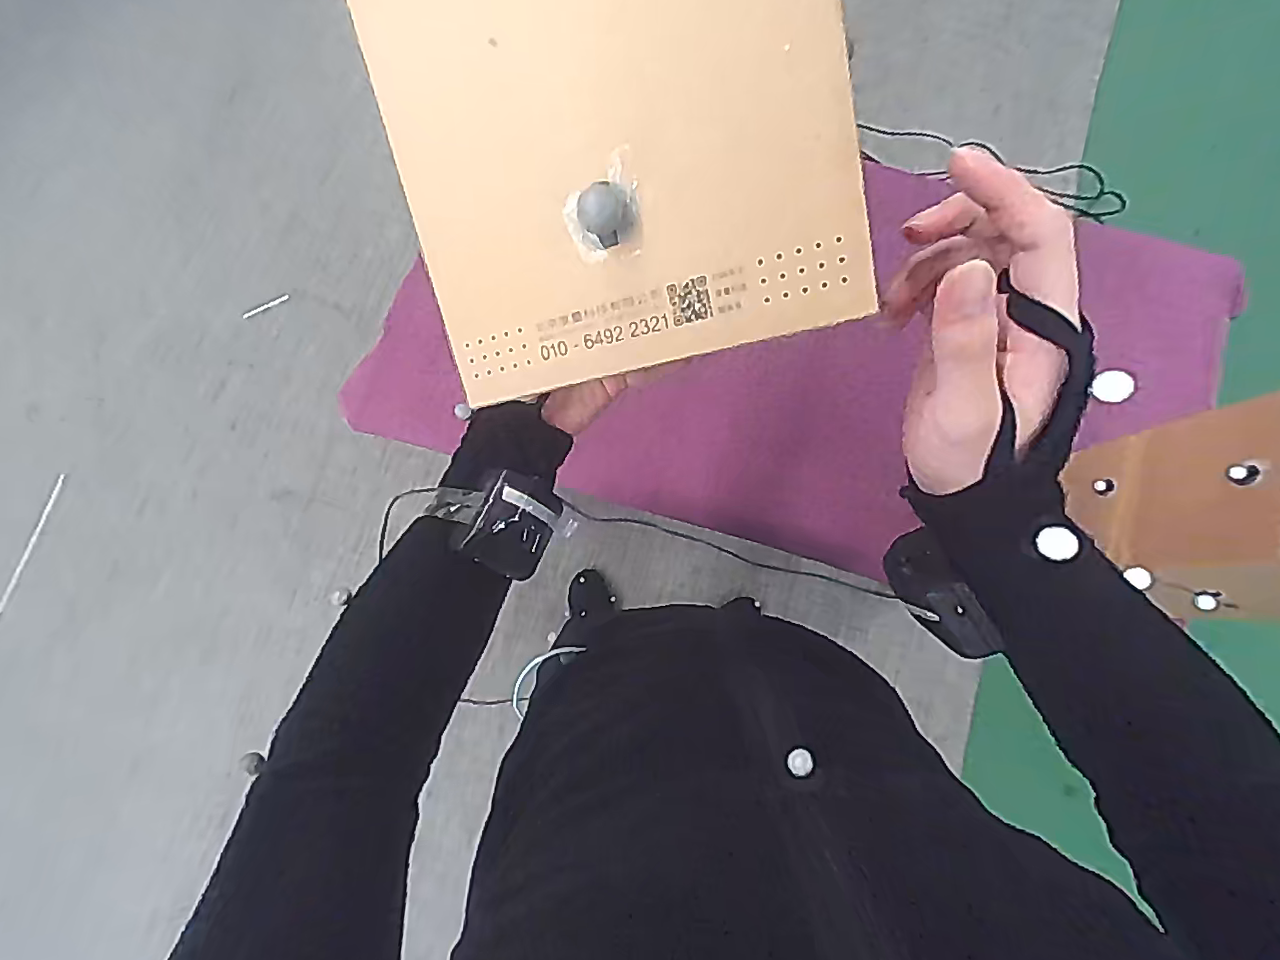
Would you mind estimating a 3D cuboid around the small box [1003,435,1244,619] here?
[{"bbox_3d":[0.621,0.063,0.695,0.179,0.176,0.168,21,80,2],"label":"small box"}]

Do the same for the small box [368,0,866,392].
[{"bbox_3d":[0.009,-0.145,0.267,0.168,0.179,0.176,-9,104,20],"label":"small box"}]

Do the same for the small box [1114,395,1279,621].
[{"bbox_3d":[0.627,0.032,0.535,0.168,0.176,0.179,21,81,4],"label":"small box"}]
